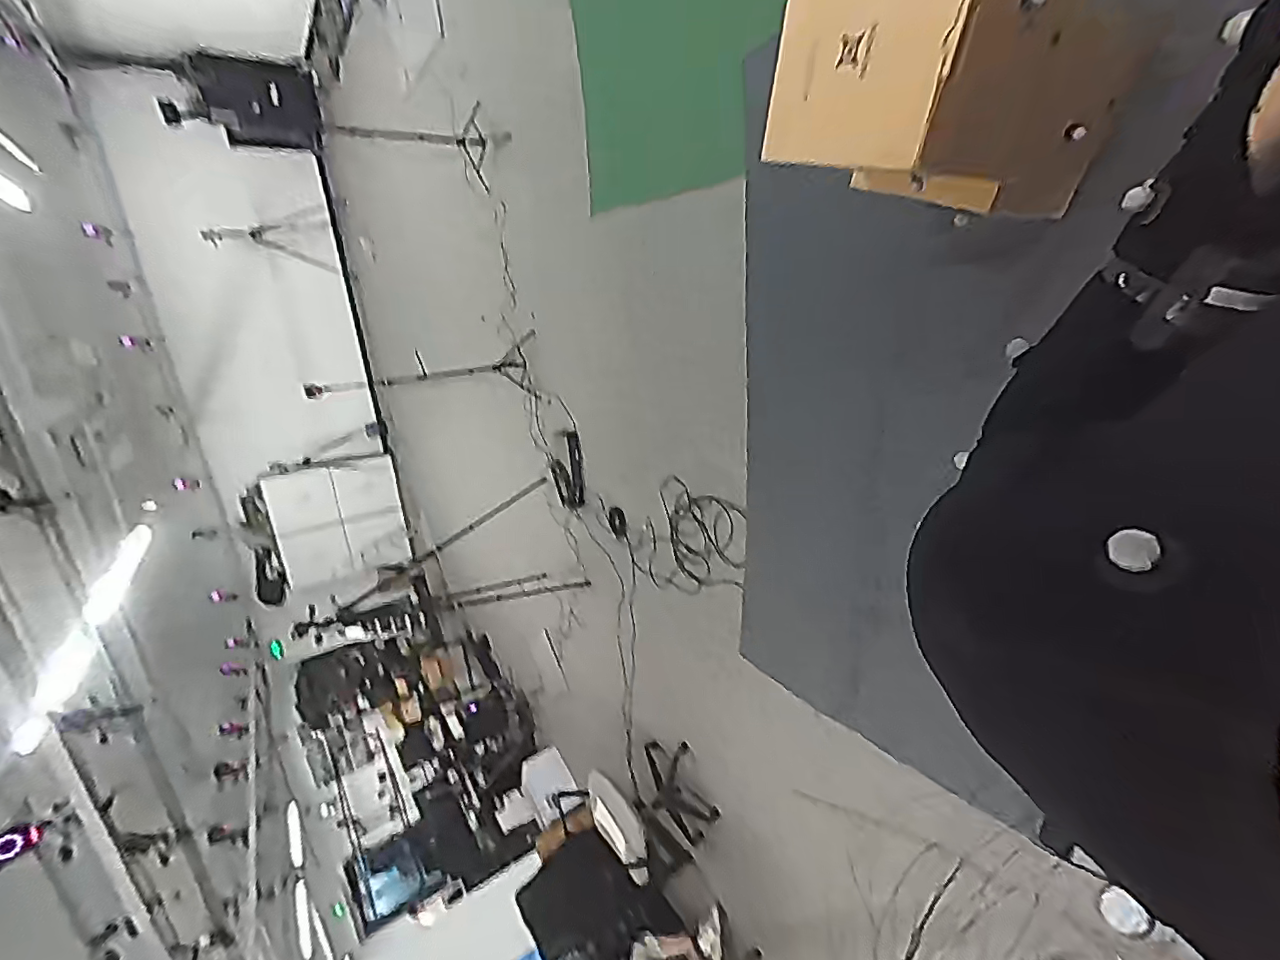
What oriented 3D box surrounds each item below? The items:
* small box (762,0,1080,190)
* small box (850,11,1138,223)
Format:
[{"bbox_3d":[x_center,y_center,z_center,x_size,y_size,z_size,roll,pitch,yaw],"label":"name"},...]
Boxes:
[{"bbox_3d":[0.243,-0.362,0.486,0.179,0.176,0.168,40,133,46],"label":"small box"},{"bbox_3d":[0.372,-0.384,0.584,0.179,0.176,0.168,44,138,42],"label":"small box"}]
